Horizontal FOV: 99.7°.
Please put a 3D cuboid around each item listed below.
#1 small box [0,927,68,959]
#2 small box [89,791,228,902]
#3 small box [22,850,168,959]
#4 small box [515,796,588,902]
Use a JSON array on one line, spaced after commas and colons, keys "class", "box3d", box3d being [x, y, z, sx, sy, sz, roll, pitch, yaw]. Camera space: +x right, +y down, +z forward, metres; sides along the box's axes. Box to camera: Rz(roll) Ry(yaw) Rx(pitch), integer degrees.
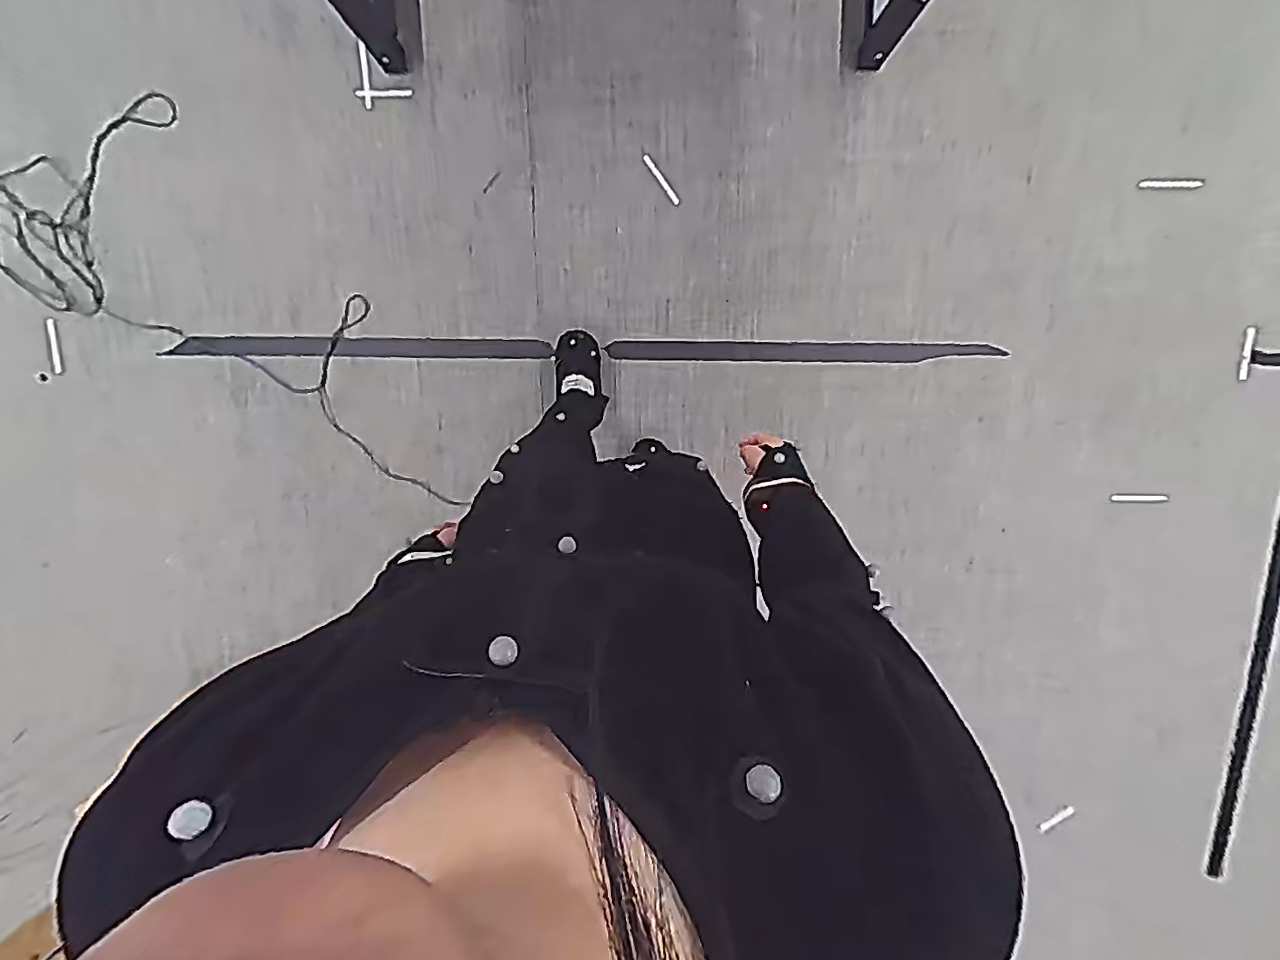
[{"class": "small box", "box3d": [-1.107, 0.916, 0.906, 0.179, 0.176, 0.168, -41, 97, 7]}, {"class": "small box", "box3d": [-1.103, 0.864, 1.229, 0.179, 0.176, 0.168, -41, 97, 6]}, {"class": "small box", "box3d": [-1.106, 0.893, 1.068, 0.179, 0.176, 0.168, -41, 97, 7]}, {"class": "small box", "box3d": [-0.248, 1.061, 1.563, 0.168, 0.176, 0.179, -10, 99, -1]}]
